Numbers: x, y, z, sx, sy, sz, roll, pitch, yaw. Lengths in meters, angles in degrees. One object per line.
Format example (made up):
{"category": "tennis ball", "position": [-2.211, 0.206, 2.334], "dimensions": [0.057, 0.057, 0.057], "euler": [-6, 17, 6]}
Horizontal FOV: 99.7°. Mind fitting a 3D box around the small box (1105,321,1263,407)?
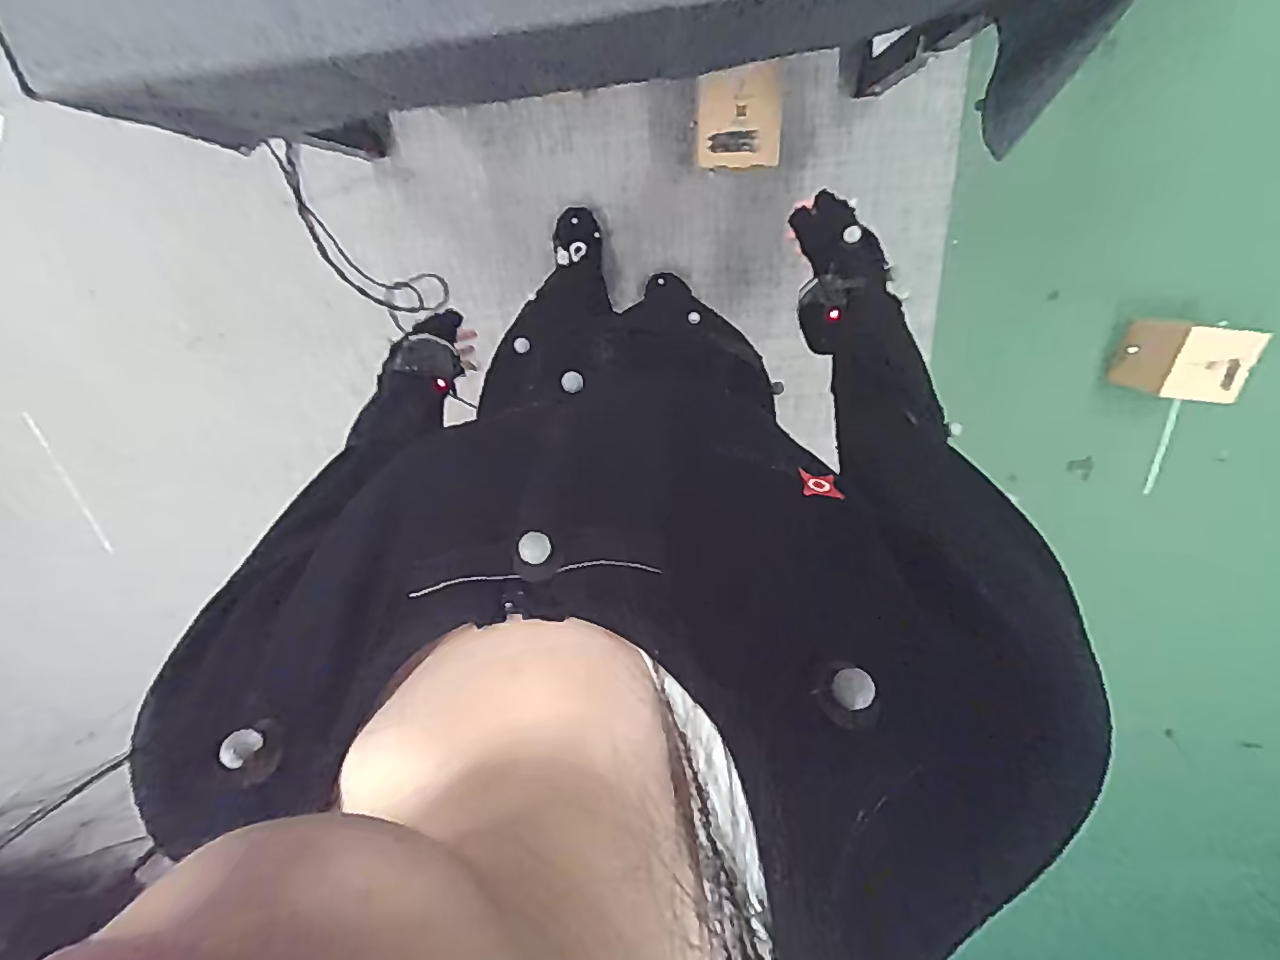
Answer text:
{"category": "small box", "position": [1.306, -0.287, 1.313], "dimensions": [0.179, 0.176, 0.168], "euler": [6, 114, 0]}
